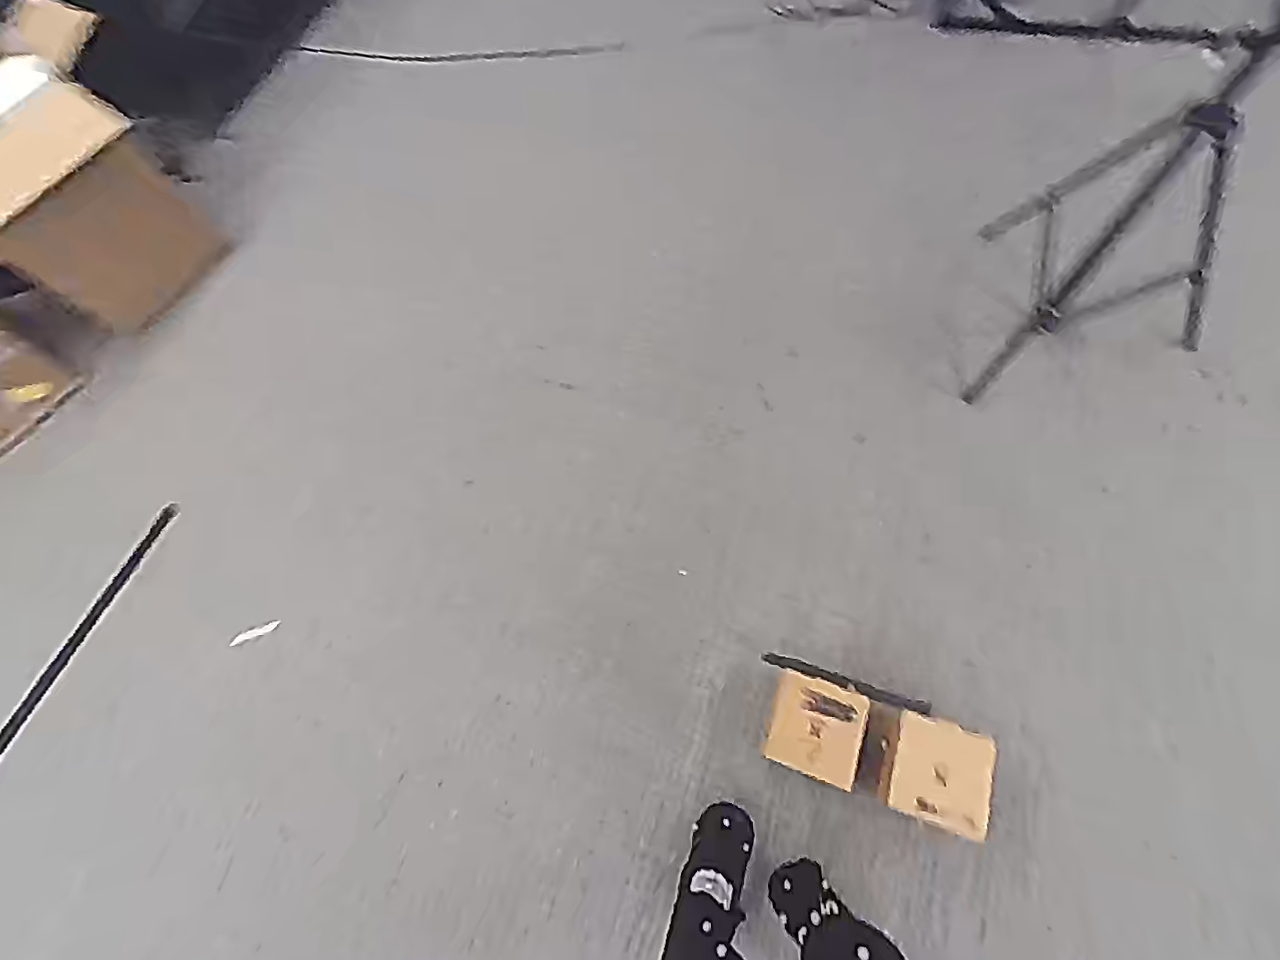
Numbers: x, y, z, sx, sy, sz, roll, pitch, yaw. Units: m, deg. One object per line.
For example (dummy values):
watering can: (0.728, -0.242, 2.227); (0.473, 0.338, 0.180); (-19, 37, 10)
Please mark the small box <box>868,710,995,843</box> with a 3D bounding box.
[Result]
small box: (0.568, 0.575, 1.071); (0.168, 0.176, 0.179); (16, 69, 14)
